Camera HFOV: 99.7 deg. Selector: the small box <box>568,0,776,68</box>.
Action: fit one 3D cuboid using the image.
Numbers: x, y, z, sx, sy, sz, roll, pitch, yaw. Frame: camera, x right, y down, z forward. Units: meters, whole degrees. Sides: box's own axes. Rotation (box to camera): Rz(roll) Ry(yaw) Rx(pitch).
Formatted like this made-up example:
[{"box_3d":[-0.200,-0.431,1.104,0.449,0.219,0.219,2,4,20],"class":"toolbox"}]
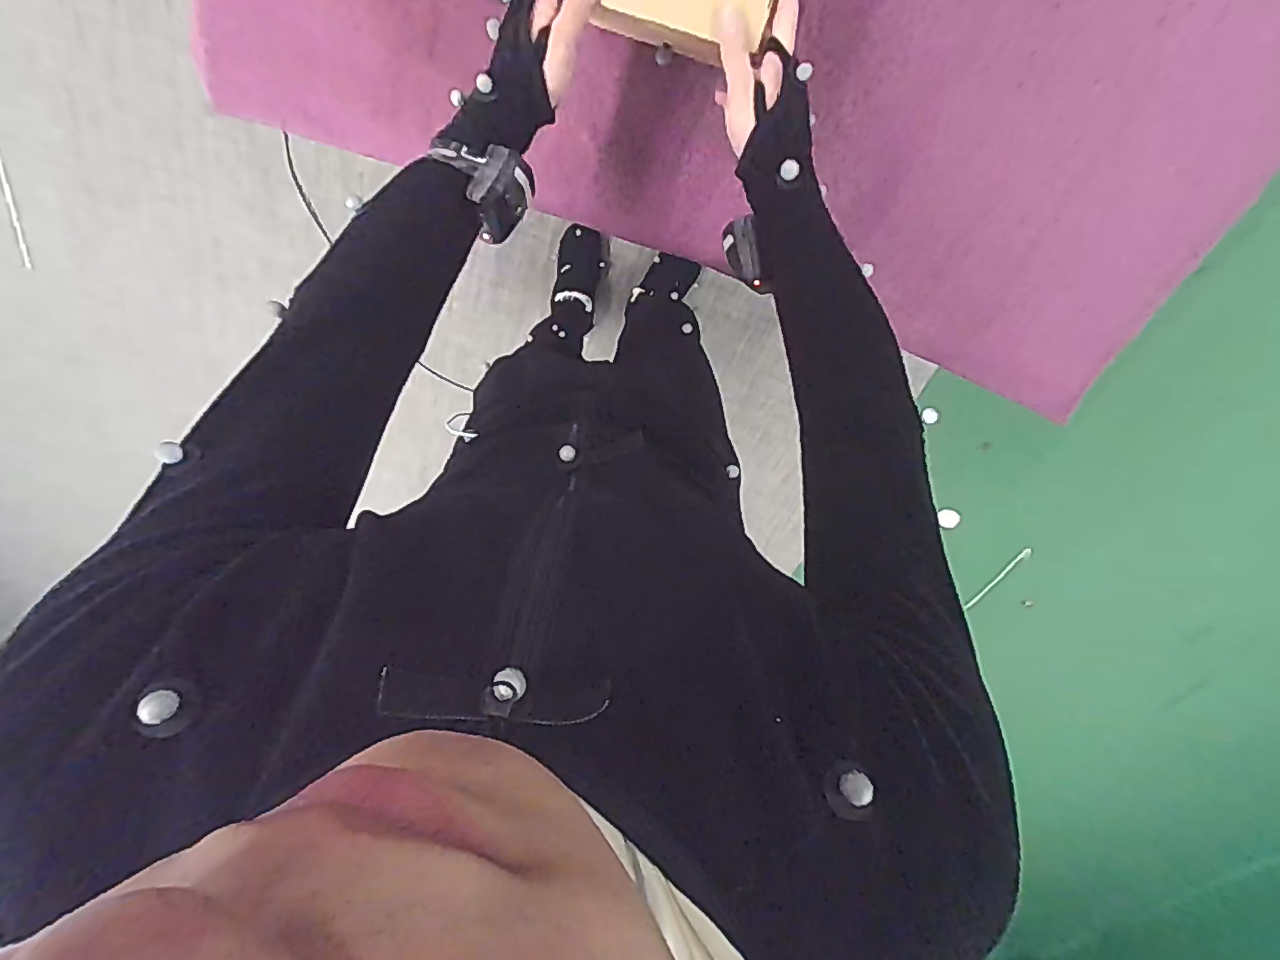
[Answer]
[{"box_3d":[0.043,-0.495,0.485,0.179,0.176,0.168,15,123,-5],"class":"small box"}]
